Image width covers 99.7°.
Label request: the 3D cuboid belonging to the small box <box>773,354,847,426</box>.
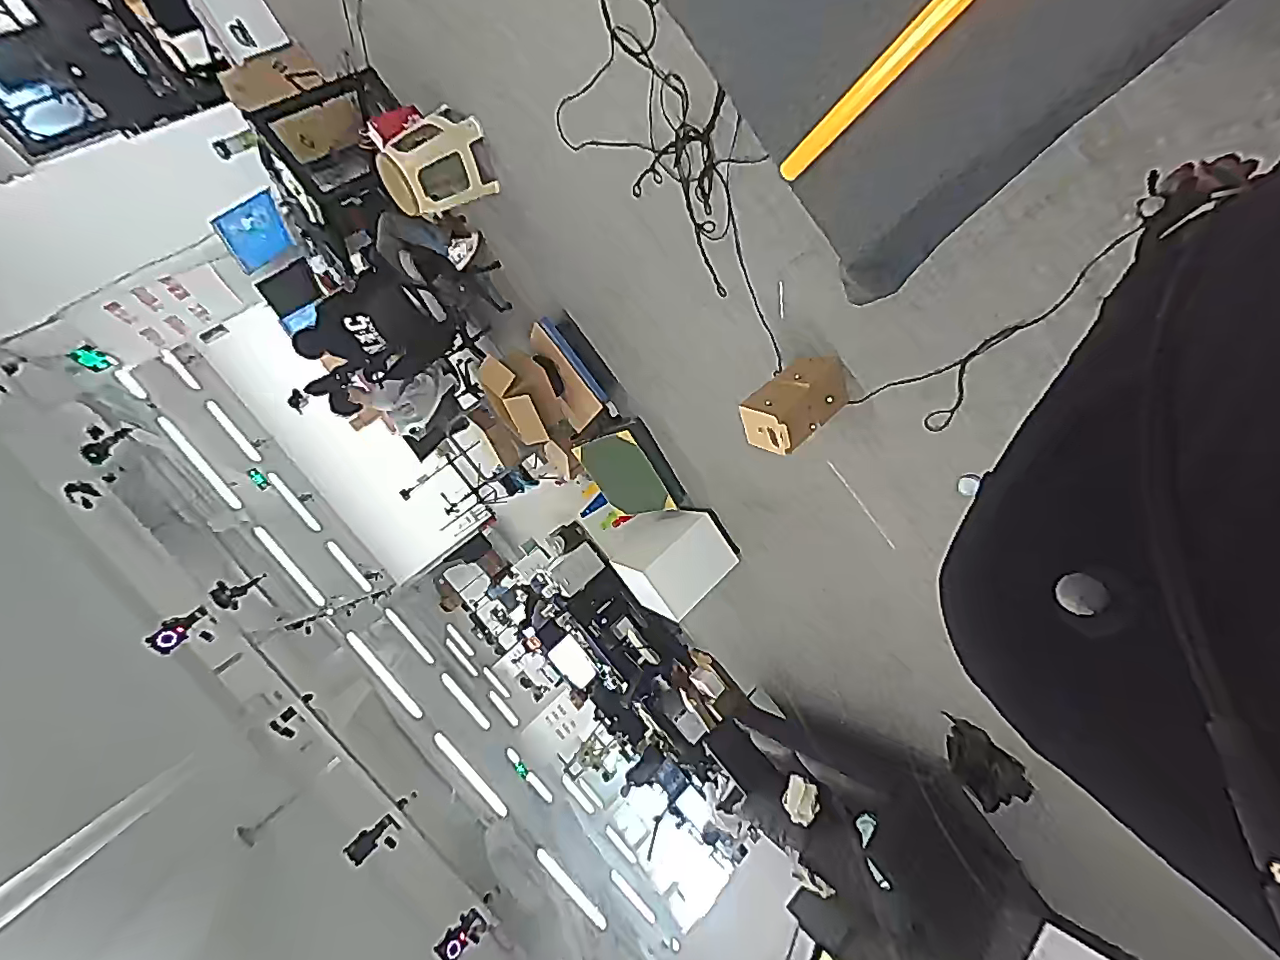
[{"bbox_3d":[0.598,-0.315,1.883,0.168,0.176,0.179,23,146,52],"label":"small box"}]

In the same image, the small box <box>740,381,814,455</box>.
[{"bbox_3d":[0.473,-0.217,1.837,0.179,0.176,0.168,28,149,48],"label":"small box"}]
